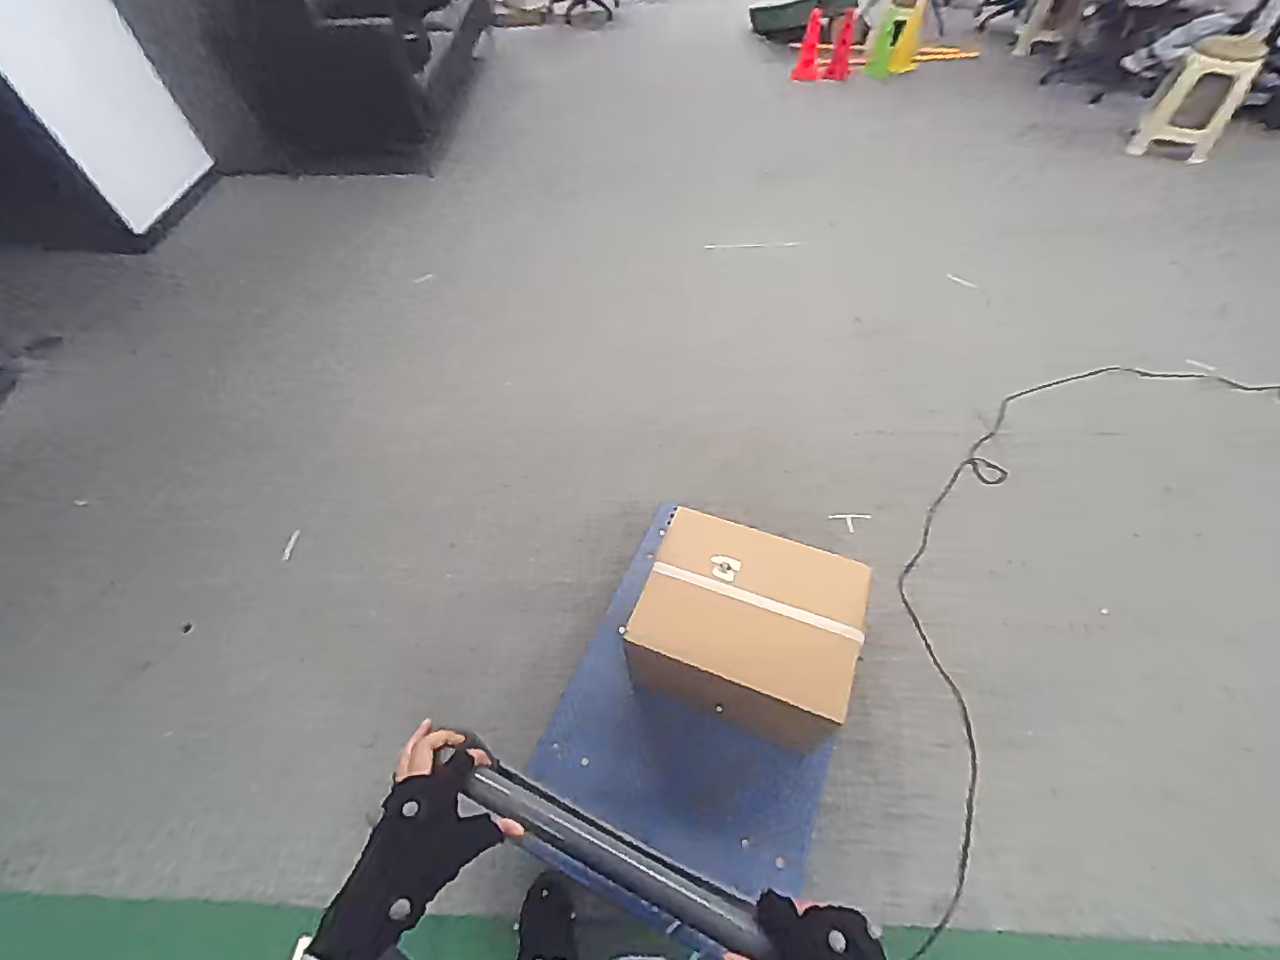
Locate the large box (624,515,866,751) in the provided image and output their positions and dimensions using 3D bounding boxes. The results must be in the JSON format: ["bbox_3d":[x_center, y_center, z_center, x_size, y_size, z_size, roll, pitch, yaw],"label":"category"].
[{"bbox_3d":[0.218,0.327,1.150,0.408,0.320,0.320,16,56,15],"label":"large box"}]
